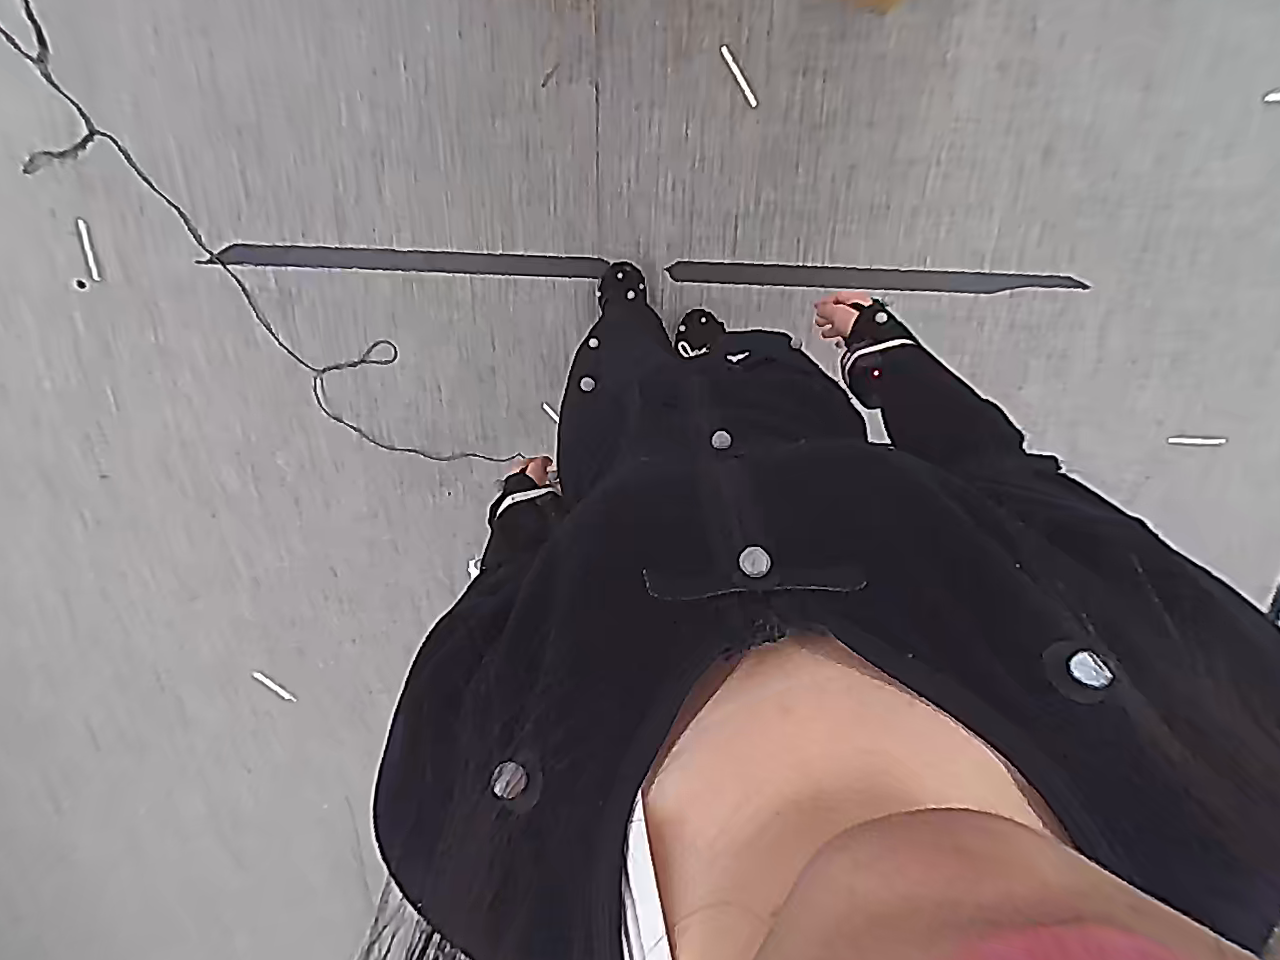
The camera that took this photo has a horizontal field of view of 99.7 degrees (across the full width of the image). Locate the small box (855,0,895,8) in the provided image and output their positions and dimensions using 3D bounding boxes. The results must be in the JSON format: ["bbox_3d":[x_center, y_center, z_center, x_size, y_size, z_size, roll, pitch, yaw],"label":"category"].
[{"bbox_3d":[0.482,-1.087,1.068,0.179,0.176,0.168,18,109,-4],"label":"small box"}]
